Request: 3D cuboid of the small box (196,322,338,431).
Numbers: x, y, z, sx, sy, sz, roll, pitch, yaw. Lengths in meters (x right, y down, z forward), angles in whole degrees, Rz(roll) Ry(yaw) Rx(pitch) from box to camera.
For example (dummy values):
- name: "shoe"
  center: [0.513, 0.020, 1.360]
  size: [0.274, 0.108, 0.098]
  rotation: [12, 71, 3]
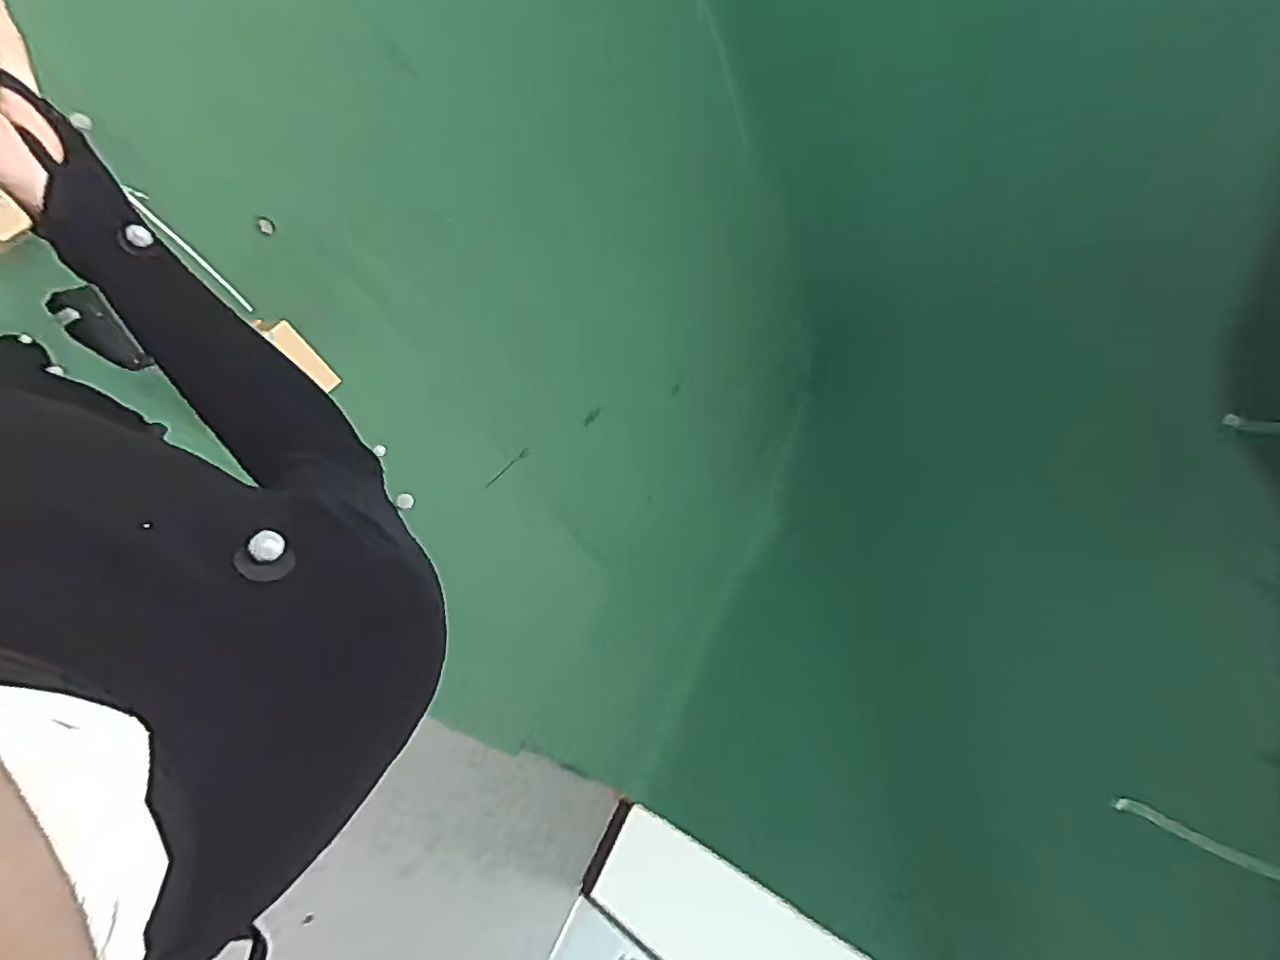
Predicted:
- name: "small box"
  center: [-0.826, -0.234, 1.197]
  size: [0.179, 0.176, 0.168]
  rotation: [-53, 135, -27]
